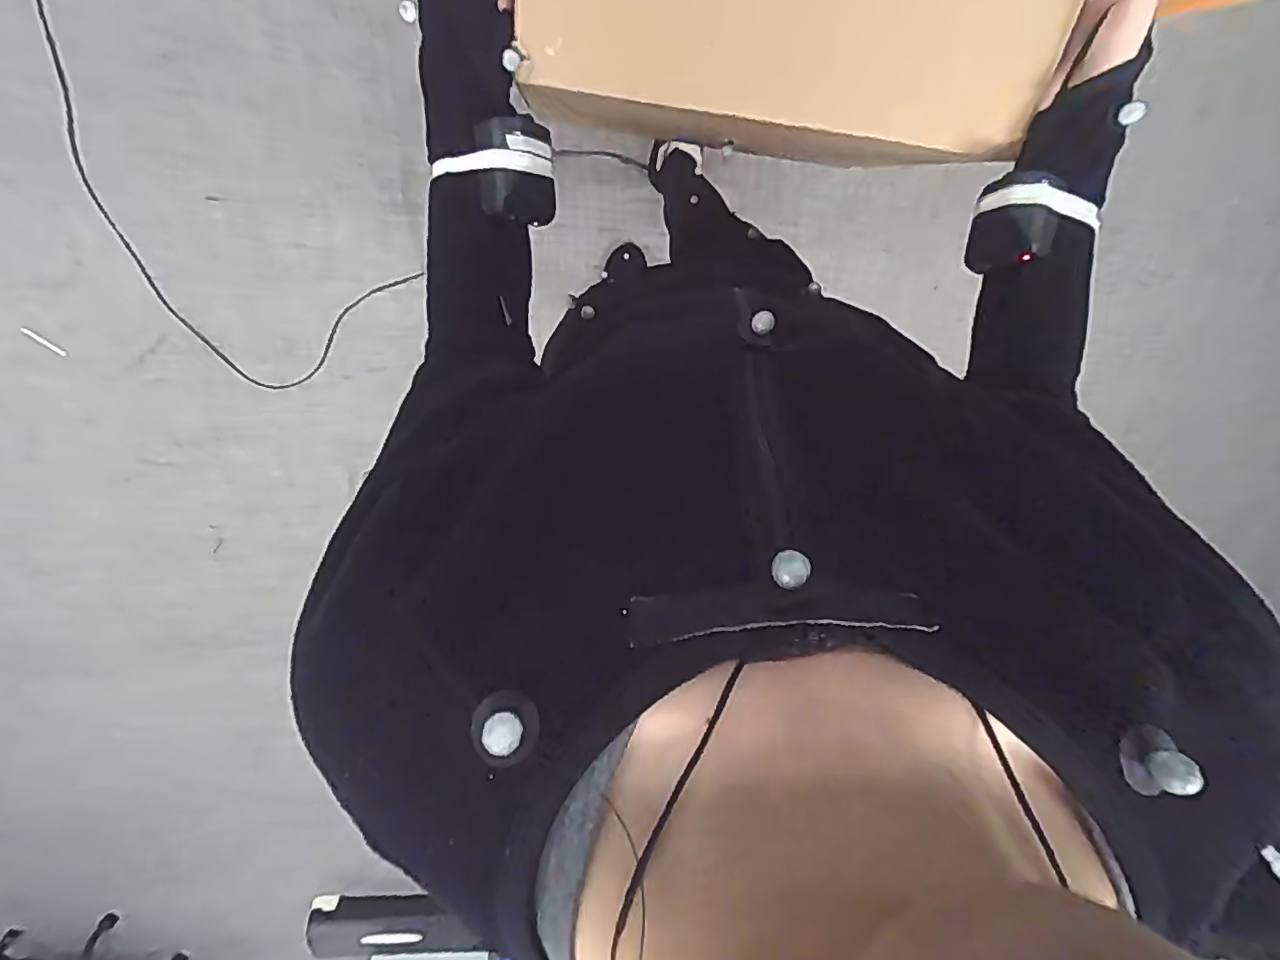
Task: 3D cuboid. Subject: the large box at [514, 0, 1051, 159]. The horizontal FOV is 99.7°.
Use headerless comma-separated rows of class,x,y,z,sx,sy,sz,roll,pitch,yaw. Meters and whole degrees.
large box,0.106,-0.485,0.483,0.408,0.320,0.320,3,118,-8
